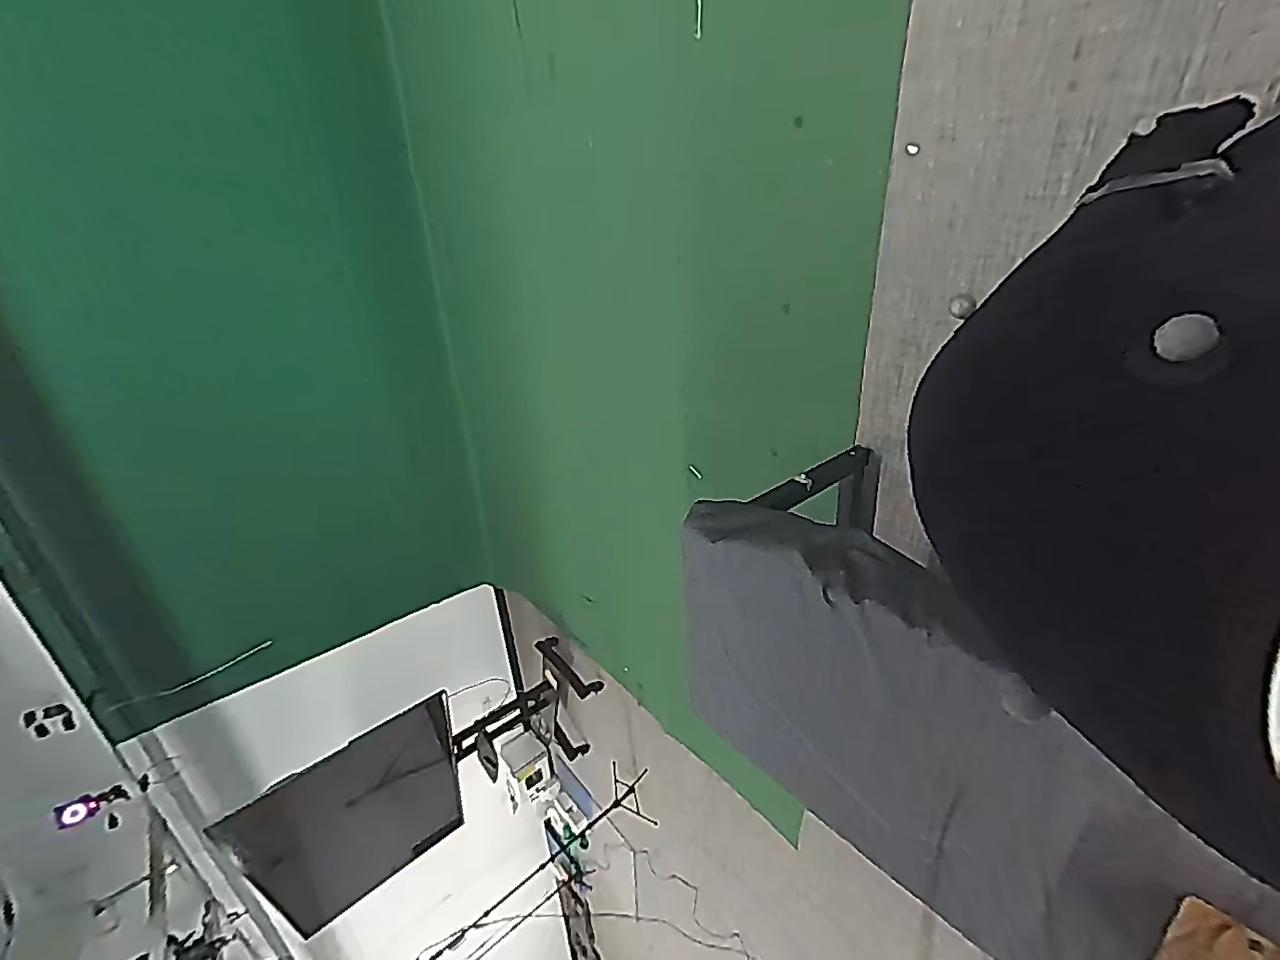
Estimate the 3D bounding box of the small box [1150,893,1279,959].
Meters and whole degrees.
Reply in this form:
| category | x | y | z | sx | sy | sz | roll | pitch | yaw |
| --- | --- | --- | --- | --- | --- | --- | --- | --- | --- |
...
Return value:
| category | x | y | z | sx | sy | sz | roll | pitch | yaw |
| --- | --- | --- | --- | --- | --- | --- | --- | --- | --- |
| small box | 0.694 | 0.638 | 0.619 | 0.168 | 0.176 | 0.179 | 21 | 124 | 47 |
